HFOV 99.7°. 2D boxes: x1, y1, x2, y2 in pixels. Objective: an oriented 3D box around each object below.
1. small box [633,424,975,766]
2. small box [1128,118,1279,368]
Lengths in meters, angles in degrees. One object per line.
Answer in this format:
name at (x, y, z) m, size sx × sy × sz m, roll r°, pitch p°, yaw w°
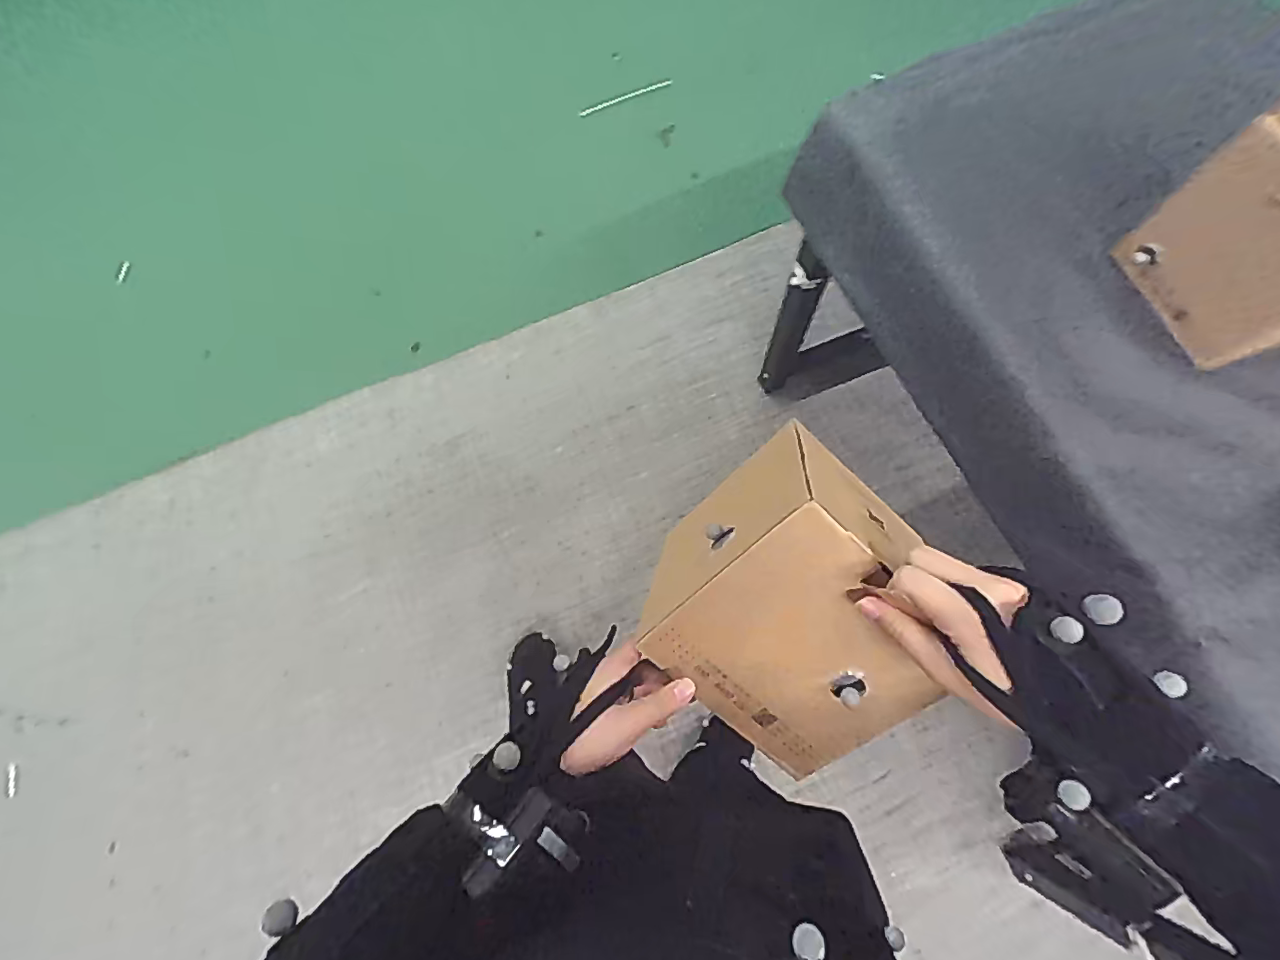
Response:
small box at (0.116, 0.087, 0.440) m, size 0.168 × 0.179 × 0.176 m, roll 42°, pitch 113°, yaw -6°
small box at (0.640, -0.234, 0.525) m, size 0.179 × 0.176 × 0.168 m, roll -18°, pitch 72°, yaw -4°
